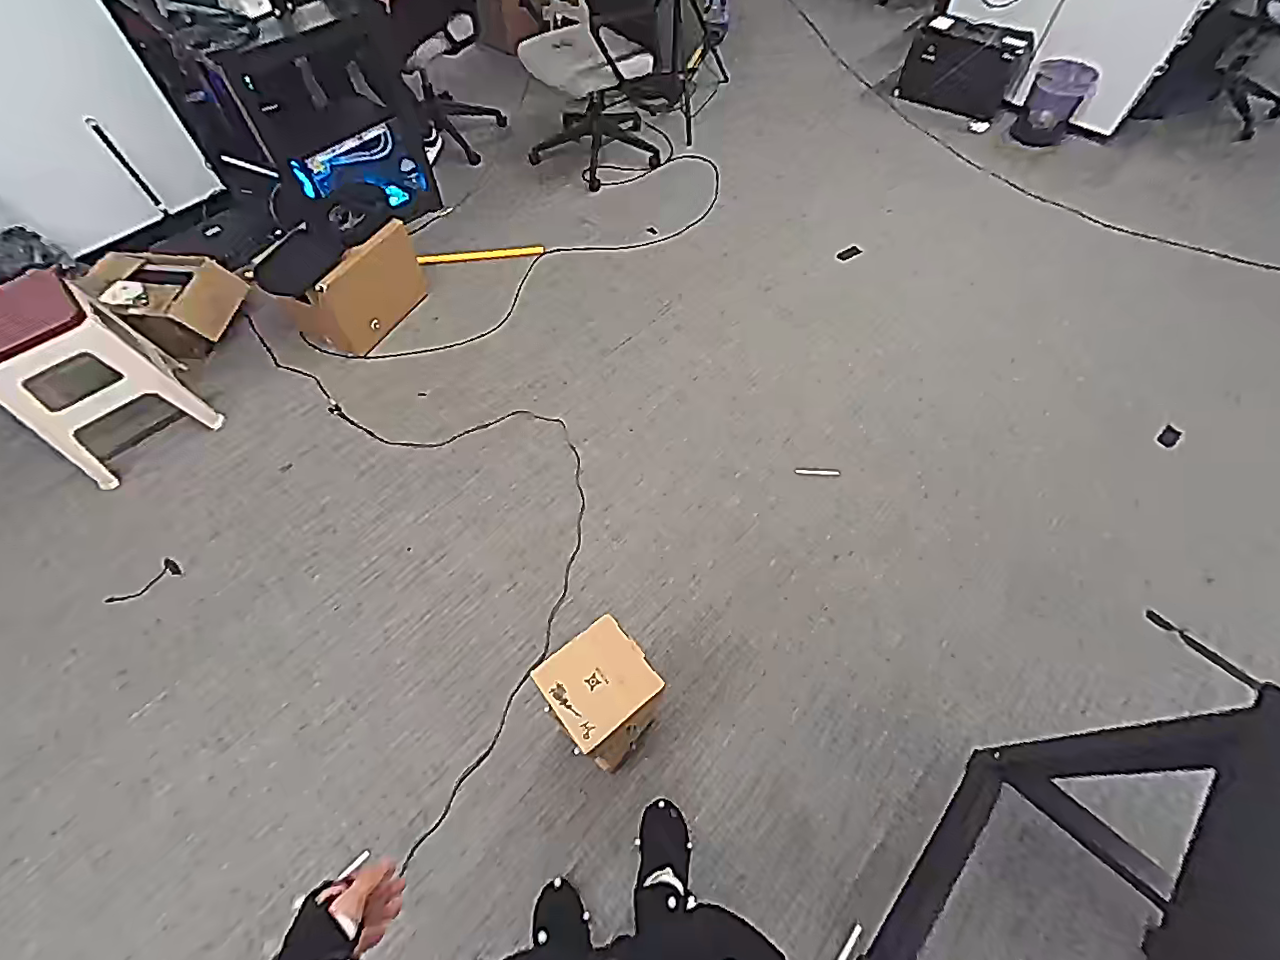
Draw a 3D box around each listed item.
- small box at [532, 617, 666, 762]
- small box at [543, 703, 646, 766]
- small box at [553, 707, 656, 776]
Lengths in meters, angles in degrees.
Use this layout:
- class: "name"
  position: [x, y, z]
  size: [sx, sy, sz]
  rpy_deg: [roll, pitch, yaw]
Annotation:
- class: "small box"
  position: [-0.075, 0.388, 0.996]
  size: [0.179, 0.176, 0.168]
  rpy_deg: [-34, 65, -20]
- class: "small box"
  position: [-0.078, 0.473, 1.136]
  size: [0.168, 0.176, 0.179]
  rpy_deg: [33, 62, 17]
- class: "small box"
  position: [-0.081, 0.563, 1.271]
  size: [0.168, 0.176, 0.179]
  rpy_deg: [36, 65, 20]
